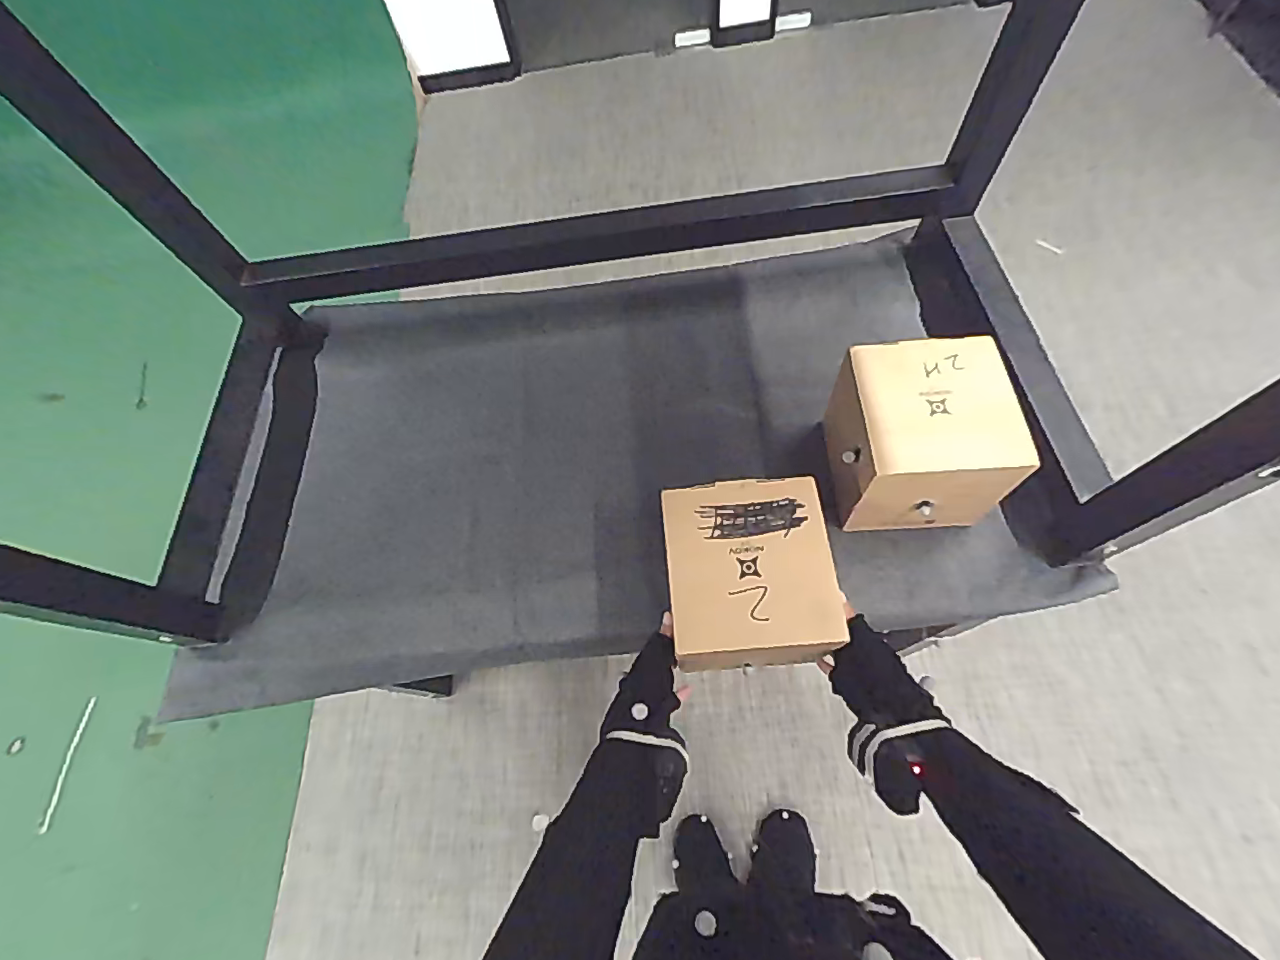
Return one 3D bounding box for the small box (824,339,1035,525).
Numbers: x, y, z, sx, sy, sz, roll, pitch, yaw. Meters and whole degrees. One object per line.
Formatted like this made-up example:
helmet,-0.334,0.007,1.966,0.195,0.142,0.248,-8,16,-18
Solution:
small box,0.339,-0.048,0.674,0.168,0.176,0.179,-3,64,5
